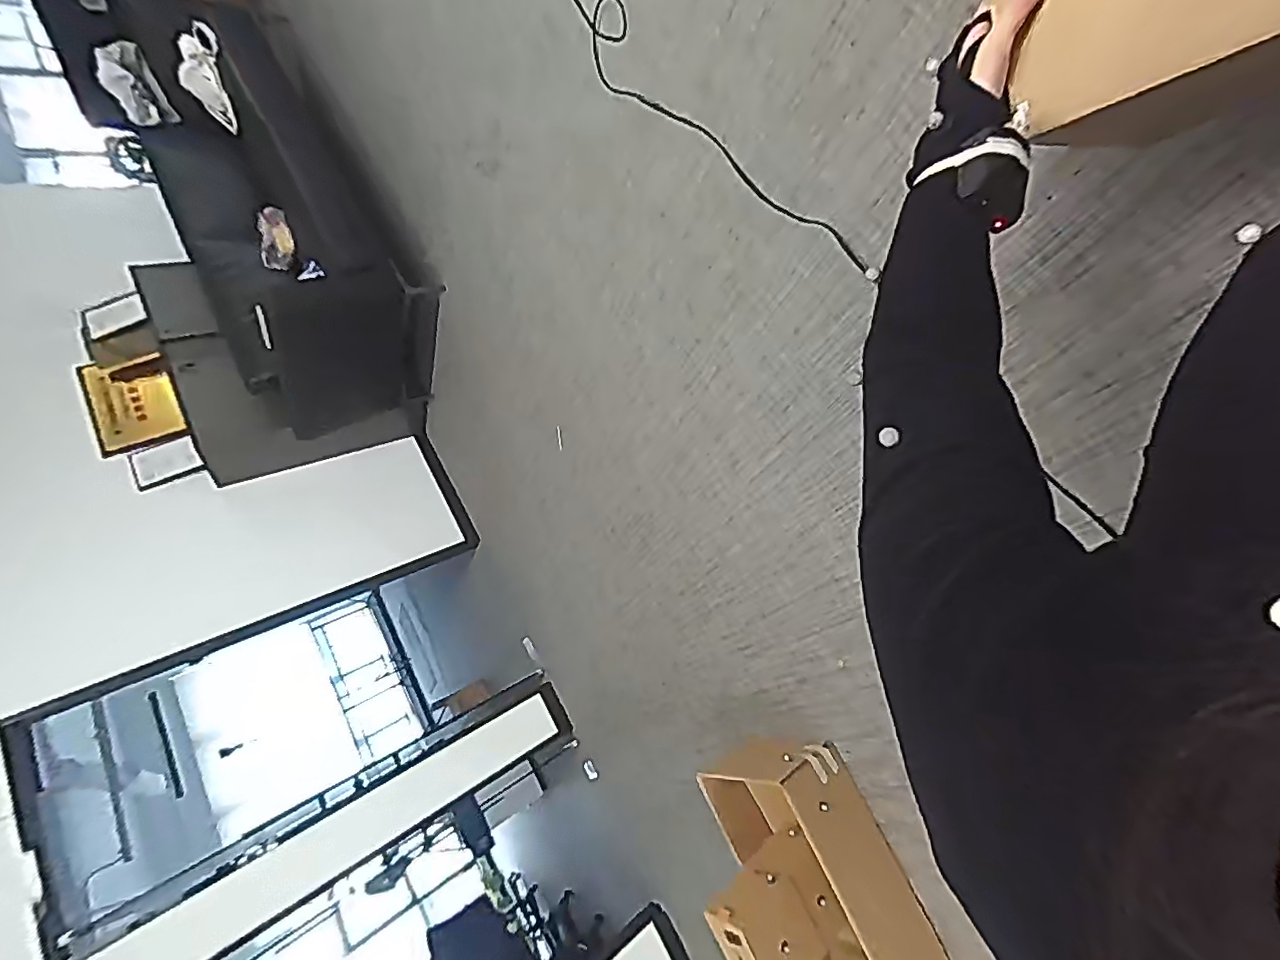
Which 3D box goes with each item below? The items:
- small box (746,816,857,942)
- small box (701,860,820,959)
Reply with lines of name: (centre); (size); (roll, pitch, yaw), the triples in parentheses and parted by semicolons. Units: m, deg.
small box: (0.409, 0.993, 1.364); (0.179, 0.176, 0.168); (62, 146, 10)
small box: (0.282, 1.044, 1.273); (0.179, 0.176, 0.168); (61, 146, 8)
